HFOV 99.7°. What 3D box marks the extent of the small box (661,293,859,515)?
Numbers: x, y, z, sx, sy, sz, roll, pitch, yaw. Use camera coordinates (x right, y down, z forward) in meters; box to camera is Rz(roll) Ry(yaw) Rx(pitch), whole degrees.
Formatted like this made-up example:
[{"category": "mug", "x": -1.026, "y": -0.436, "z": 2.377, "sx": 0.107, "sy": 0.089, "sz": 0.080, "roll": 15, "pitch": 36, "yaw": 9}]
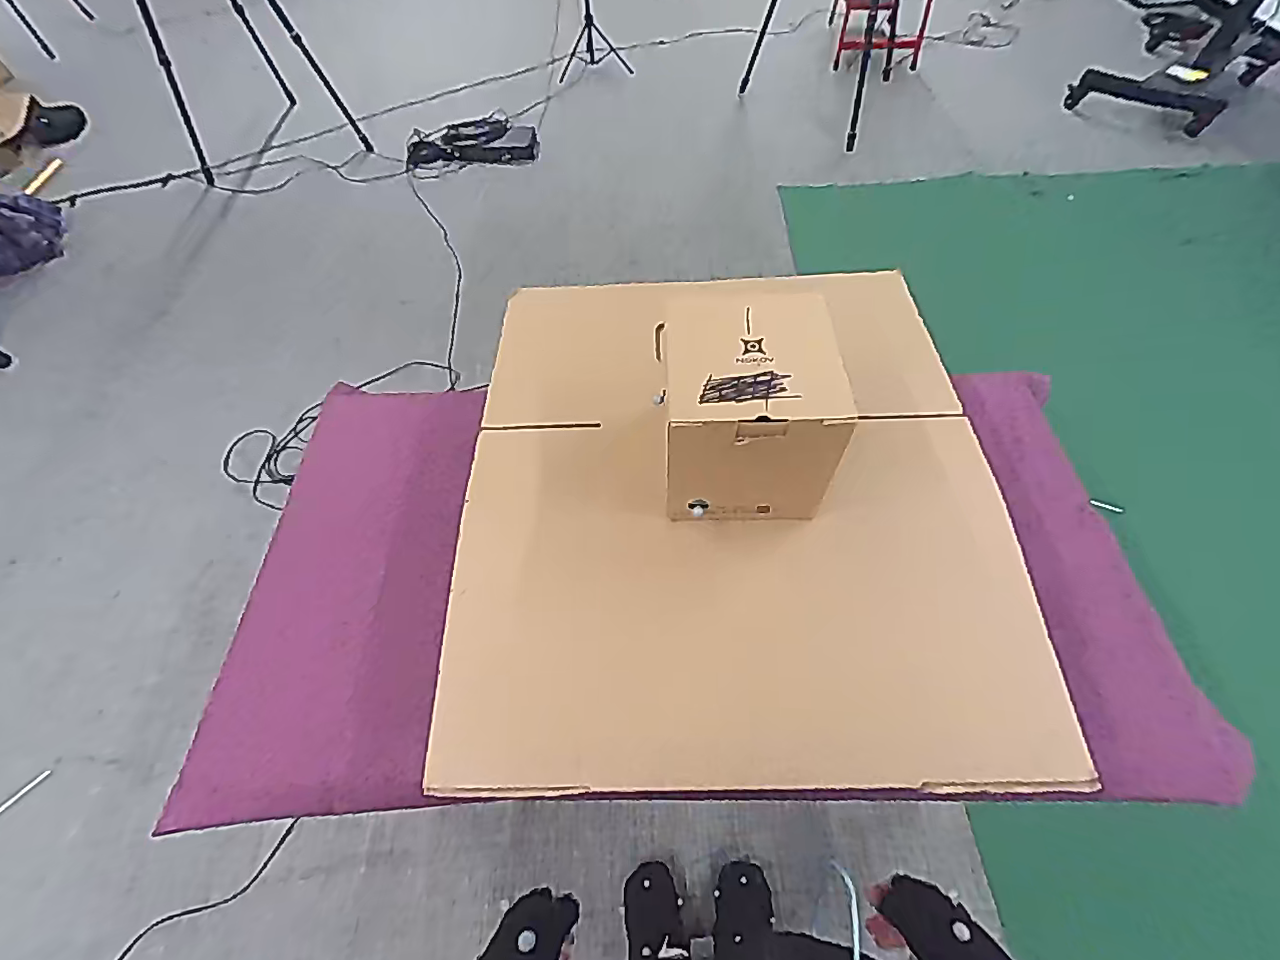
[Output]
[{"category": "small box", "x": 0.110, "y": -0.071, "z": 0.578, "sx": 0.168, "sy": 0.176, "sz": 0.179, "roll": -3, "pitch": 57, "yaw": 0}]
